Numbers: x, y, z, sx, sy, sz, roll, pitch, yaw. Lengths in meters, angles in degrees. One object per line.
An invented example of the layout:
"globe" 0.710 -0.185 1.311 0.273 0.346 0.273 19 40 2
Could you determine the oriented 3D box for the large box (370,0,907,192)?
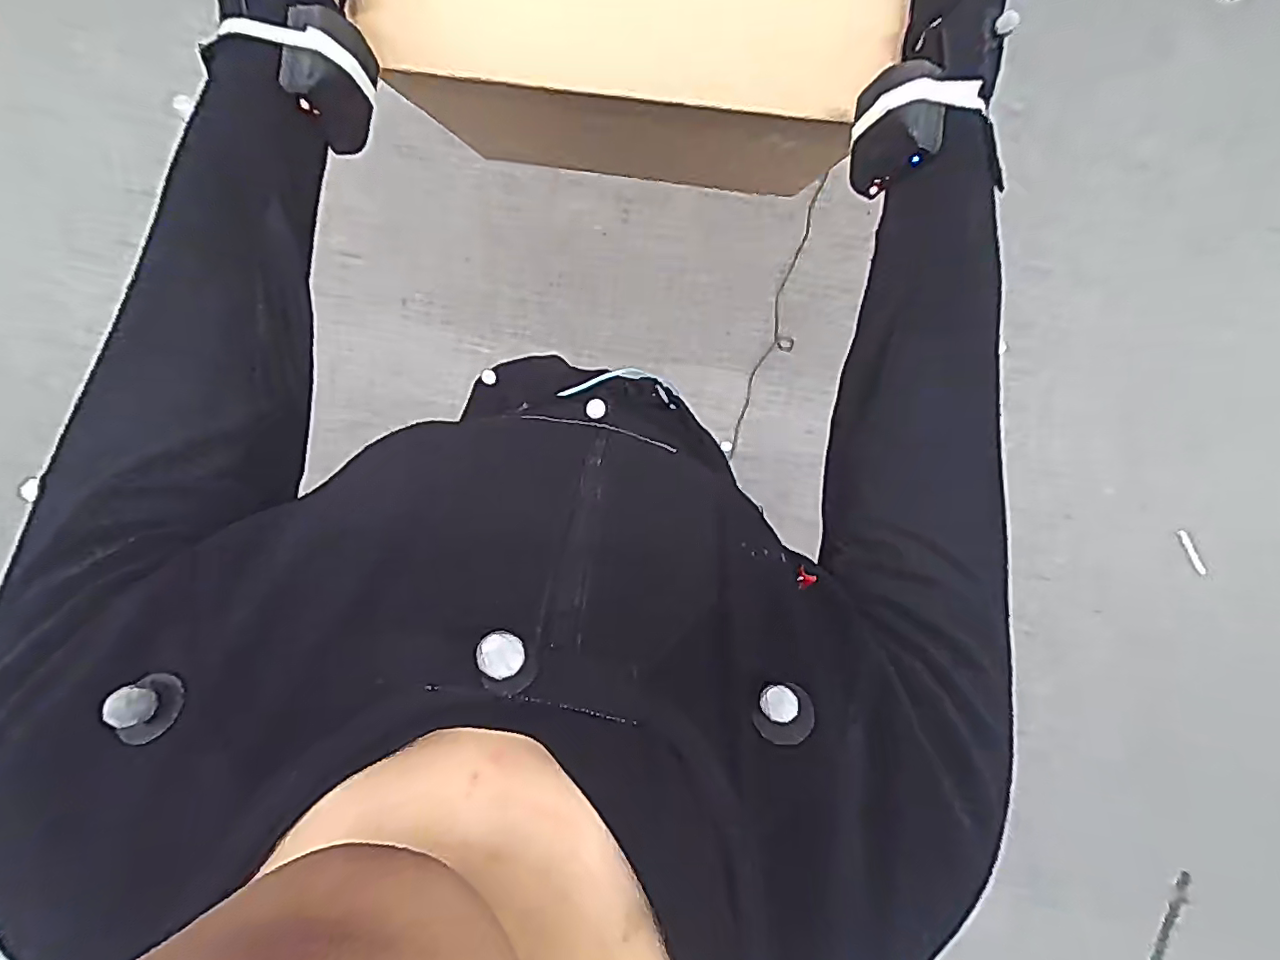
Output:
"large box" 0.008 -0.487 0.510 0.408 0.320 0.320 6 109 -1
